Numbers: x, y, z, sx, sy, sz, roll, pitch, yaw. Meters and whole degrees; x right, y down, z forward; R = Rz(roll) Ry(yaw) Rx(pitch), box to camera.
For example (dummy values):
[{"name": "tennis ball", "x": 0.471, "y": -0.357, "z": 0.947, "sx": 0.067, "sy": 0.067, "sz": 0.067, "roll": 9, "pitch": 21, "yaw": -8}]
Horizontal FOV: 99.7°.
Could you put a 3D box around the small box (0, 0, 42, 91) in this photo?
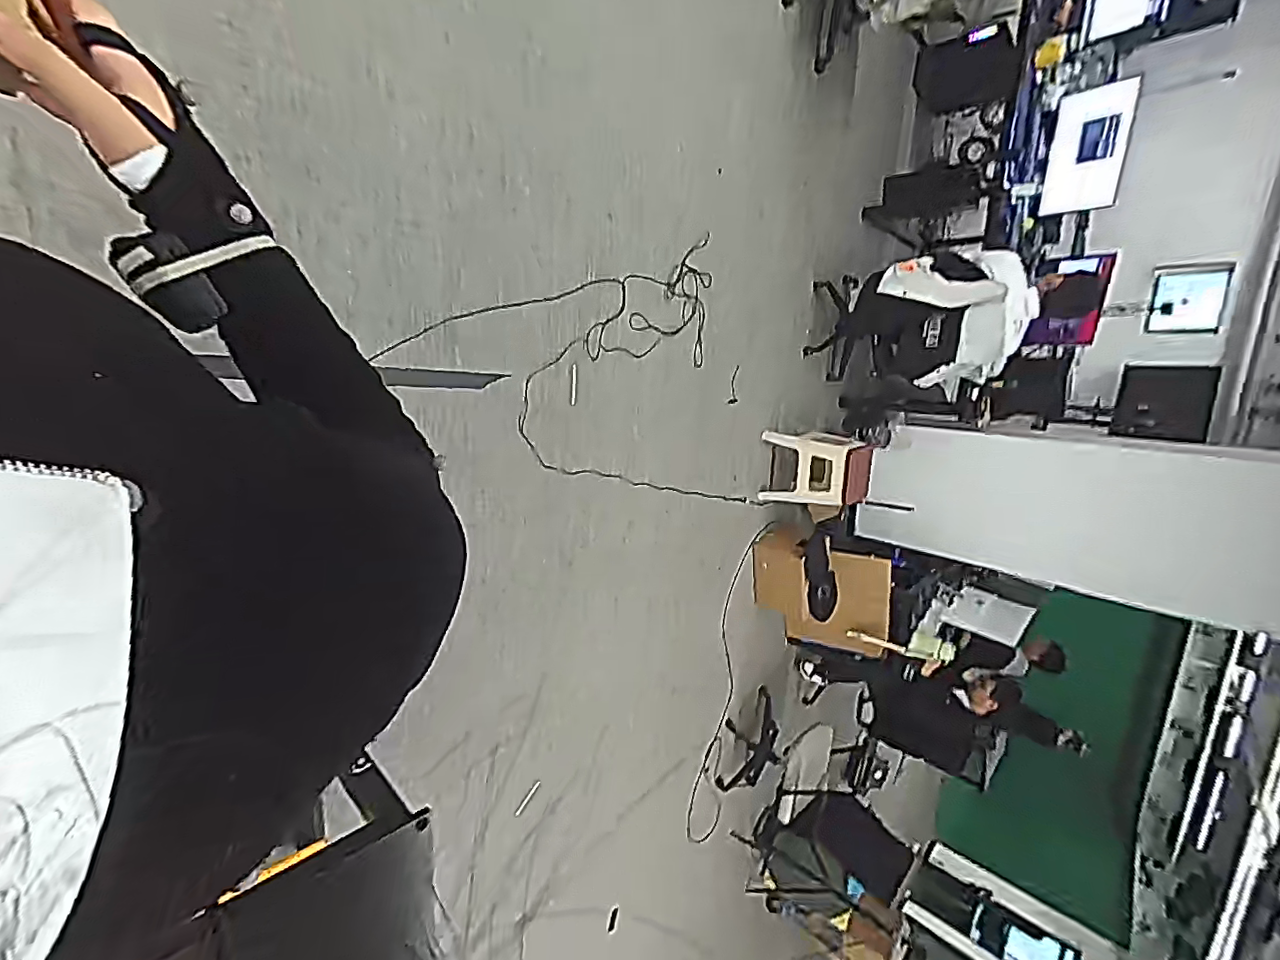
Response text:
[{"name": "small box", "x": -0.430, "y": -0.335, "z": 0.267, "sx": 0.168, "sy": 0.176, "sz": 0.179, "roll": -6, "pitch": 110, "yaw": -49}]
